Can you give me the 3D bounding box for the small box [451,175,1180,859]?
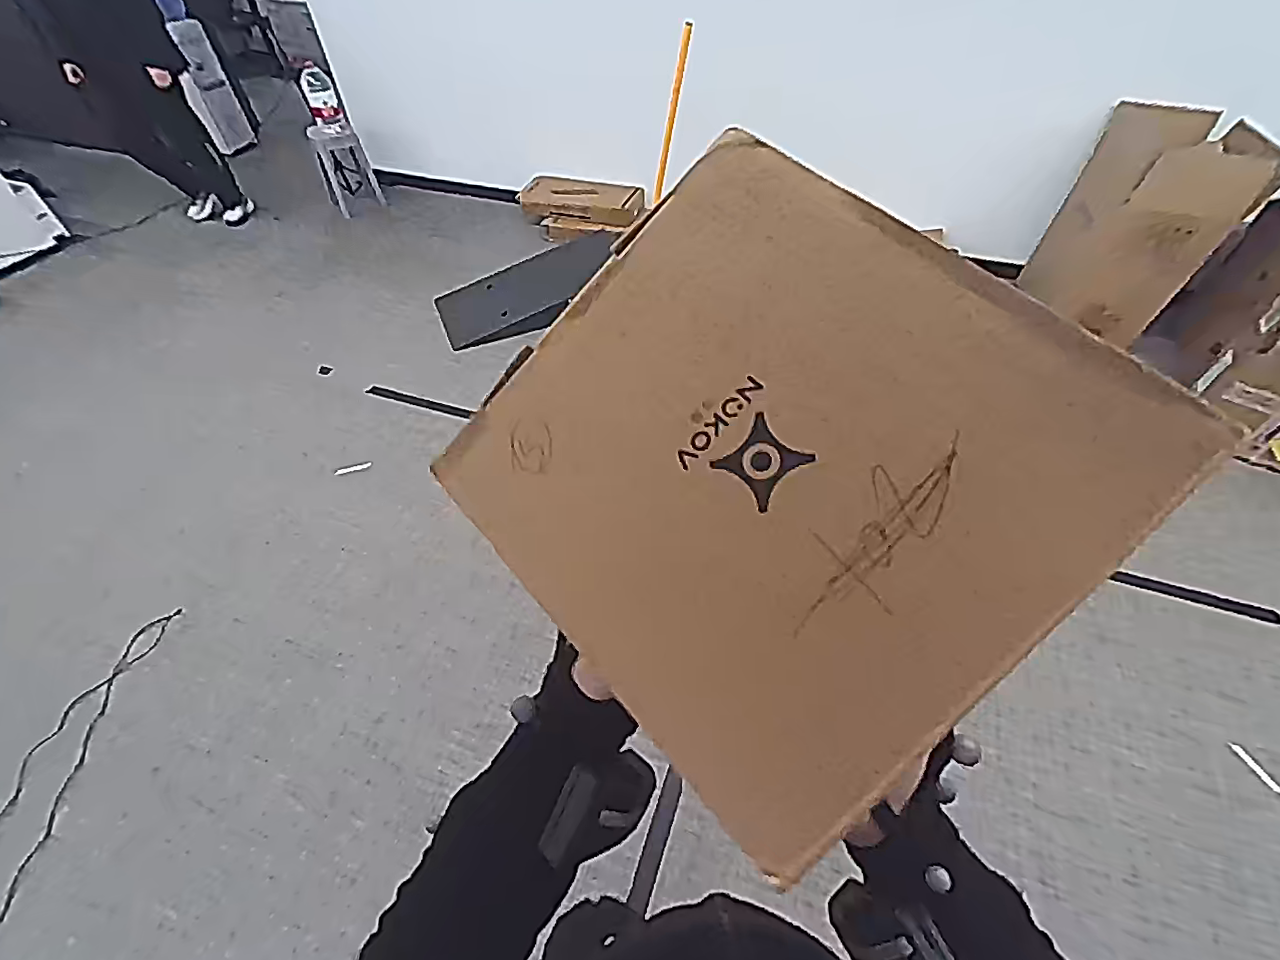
[{"bbox_3d":[0.059,0.012,0.255,0.179,0.176,0.168,42,95,19],"label":"small box"}]
